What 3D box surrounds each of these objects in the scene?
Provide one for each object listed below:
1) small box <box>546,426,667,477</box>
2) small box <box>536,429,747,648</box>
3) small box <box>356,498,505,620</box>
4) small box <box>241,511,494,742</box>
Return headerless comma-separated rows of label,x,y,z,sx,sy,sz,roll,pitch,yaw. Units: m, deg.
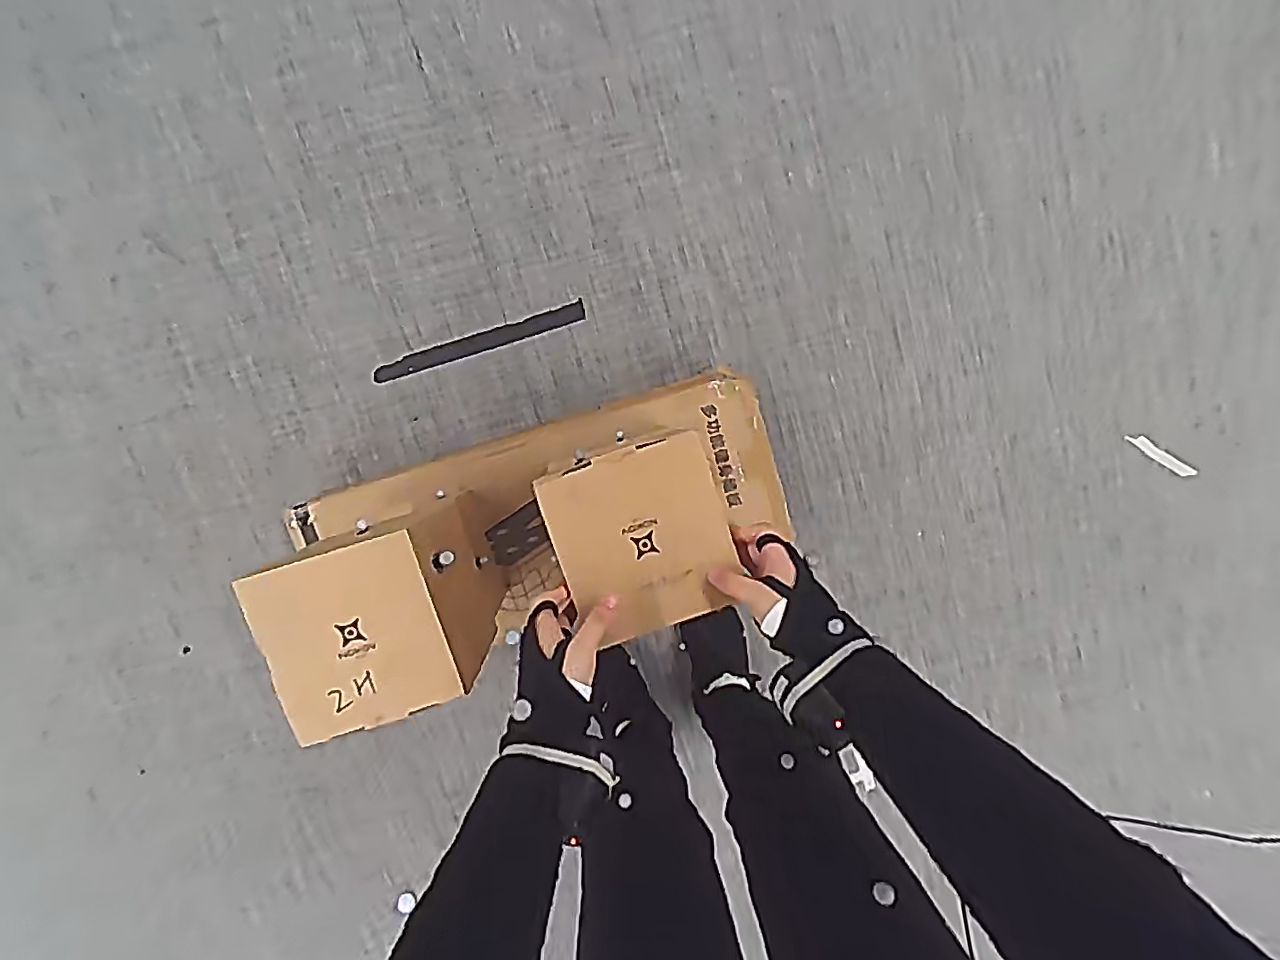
small box,-0.020,0.030,0.764,0.168,0.176,0.179,-16,98,0
small box,-0.002,0.052,0.599,0.168,0.176,0.179,-19,96,-1
small box,-0.304,0.132,0.755,0.168,0.176,0.179,-18,99,-2
small box,-0.275,0.140,0.592,0.168,0.176,0.179,-17,98,-2
